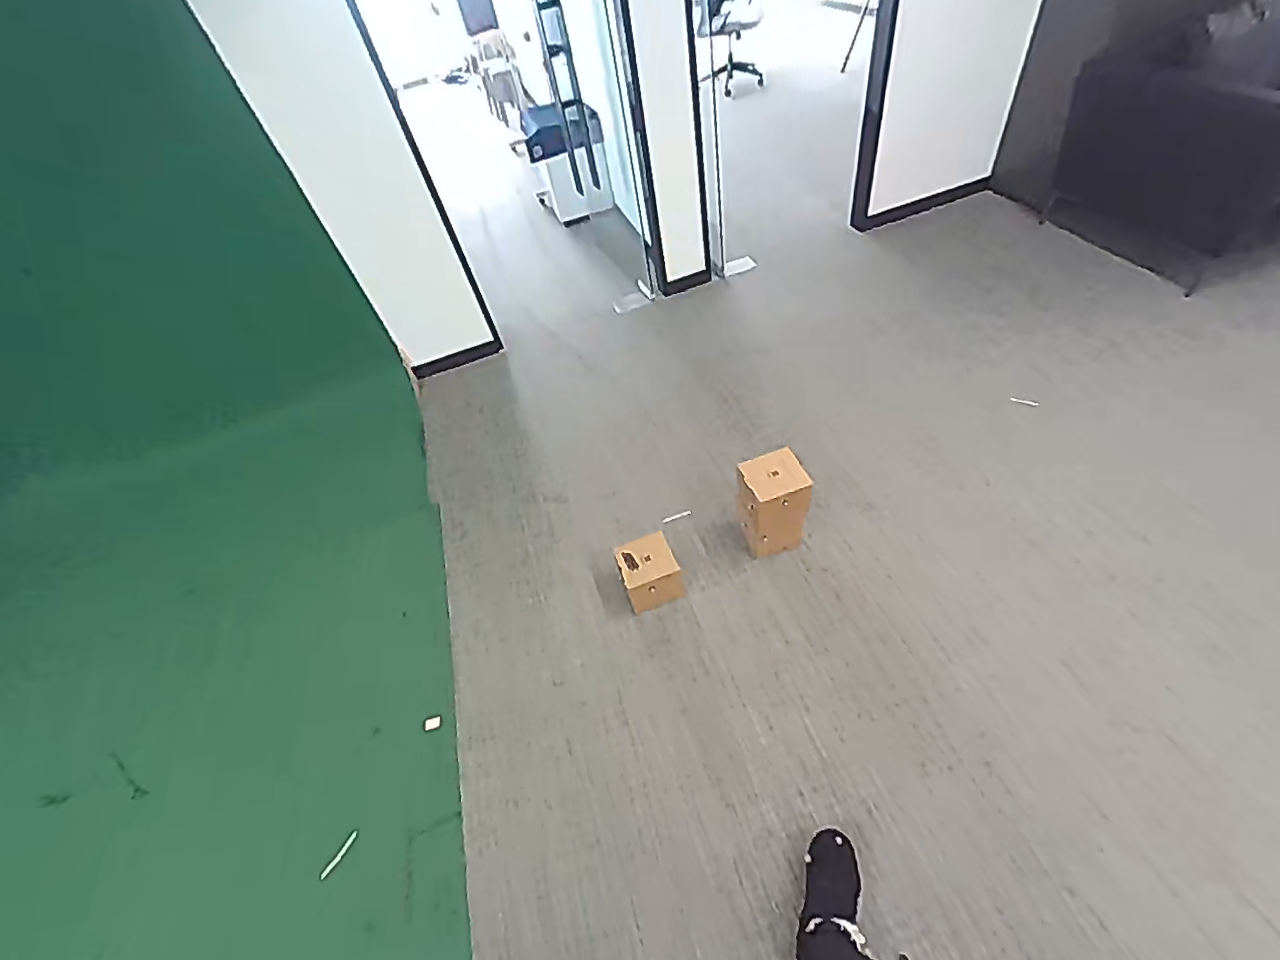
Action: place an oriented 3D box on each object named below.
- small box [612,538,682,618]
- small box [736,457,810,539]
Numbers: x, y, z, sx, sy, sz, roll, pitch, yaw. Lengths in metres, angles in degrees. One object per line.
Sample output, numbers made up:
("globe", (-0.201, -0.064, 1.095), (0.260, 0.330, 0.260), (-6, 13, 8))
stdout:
("small box", (0.026, 0.327, 1.770), (0.179, 0.176, 0.168), (-19, 48, -6))
("small box", (0.415, 0.060, 1.702), (0.179, 0.176, 0.168), (-18, 48, -5))
